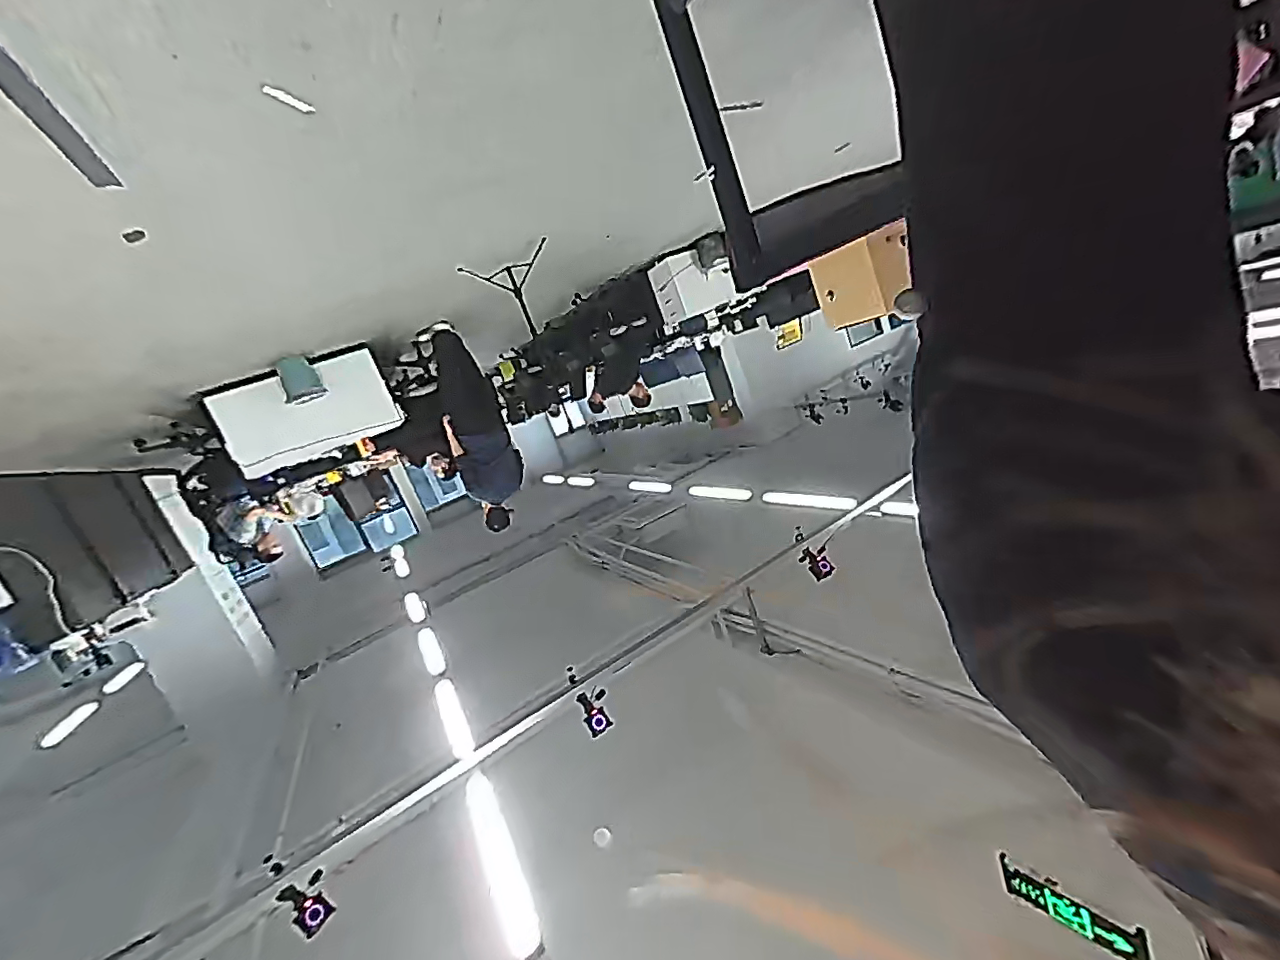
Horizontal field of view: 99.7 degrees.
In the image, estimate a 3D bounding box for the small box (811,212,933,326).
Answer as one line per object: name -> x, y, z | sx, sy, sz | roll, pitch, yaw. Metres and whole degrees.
small box -> 0.502, -0.461, 1.191 | 0.168, 0.176, 0.179 | -28, -166, -19
